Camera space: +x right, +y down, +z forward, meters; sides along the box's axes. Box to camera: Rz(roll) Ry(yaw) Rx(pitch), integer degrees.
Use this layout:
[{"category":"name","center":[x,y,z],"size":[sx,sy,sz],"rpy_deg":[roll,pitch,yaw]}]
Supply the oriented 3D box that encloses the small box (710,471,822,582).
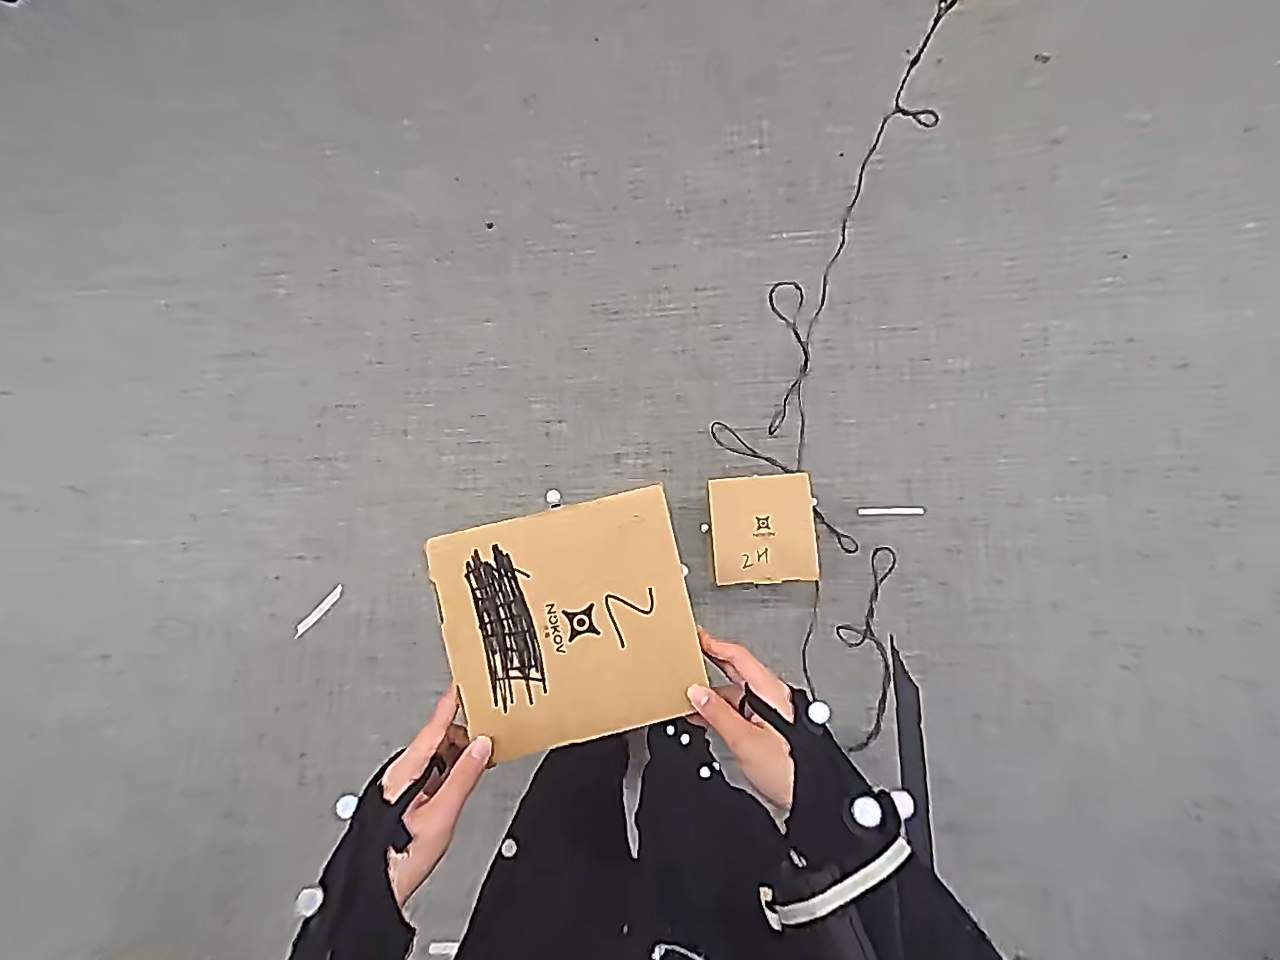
[{"category":"small box","center":[0.212,0.087,0.952],"size":[0.168,0.176,0.179],"rpy_deg":[-4,81,6]}]
